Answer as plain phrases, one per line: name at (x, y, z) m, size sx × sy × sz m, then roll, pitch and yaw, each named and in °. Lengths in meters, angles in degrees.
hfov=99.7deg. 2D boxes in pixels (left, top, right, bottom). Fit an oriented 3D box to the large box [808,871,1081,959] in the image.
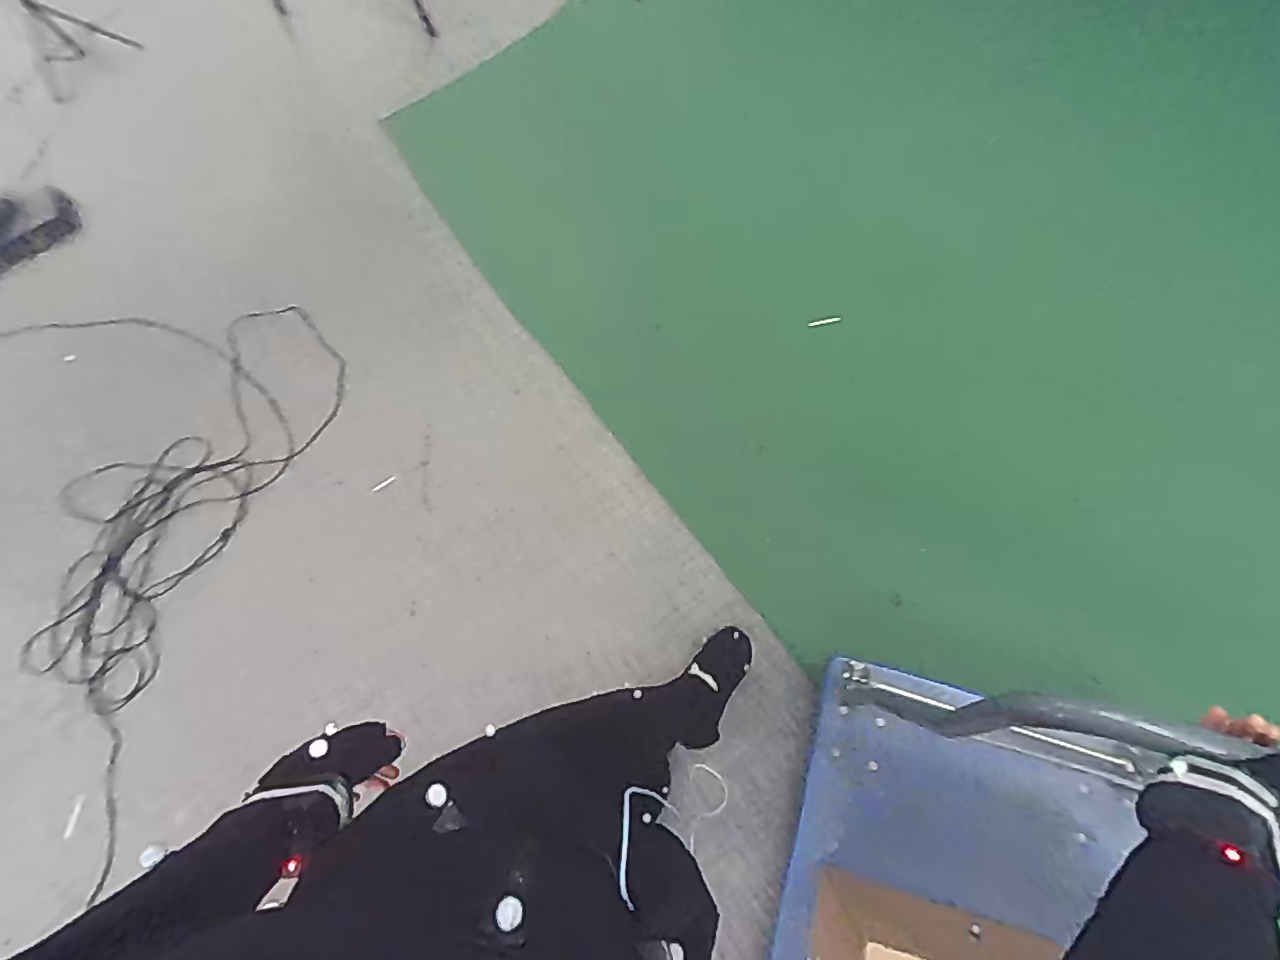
large box at (0.462, 0.824, 0.757) m, size 0.408 × 0.320 × 0.320 m, roll 12°, pitch 73°, yaw 10°
